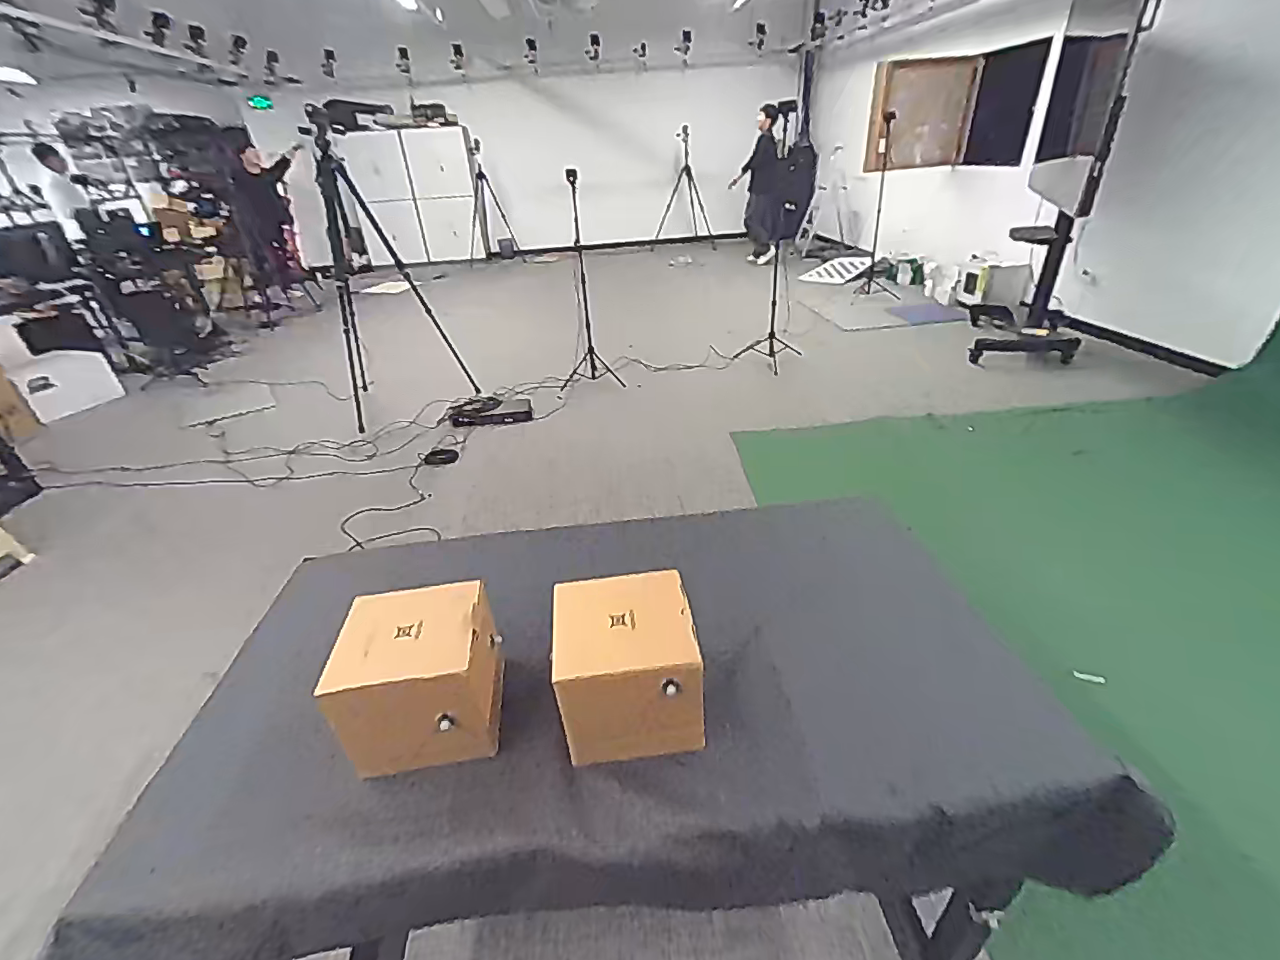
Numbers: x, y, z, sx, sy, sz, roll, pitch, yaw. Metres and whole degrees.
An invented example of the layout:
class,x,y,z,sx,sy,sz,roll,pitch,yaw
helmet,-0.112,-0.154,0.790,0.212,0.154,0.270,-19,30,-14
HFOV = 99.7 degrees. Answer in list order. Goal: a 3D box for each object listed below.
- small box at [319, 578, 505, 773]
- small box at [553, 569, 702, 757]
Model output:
class,x,y,z,sx,sy,sz,roll,pitch,yaw
small box,-0.286,0.261,0.731,0.179,0.176,0.168,-9,30,-5
small box,-0.017,0.244,0.727,0.179,0.176,0.168,-6,31,-4
